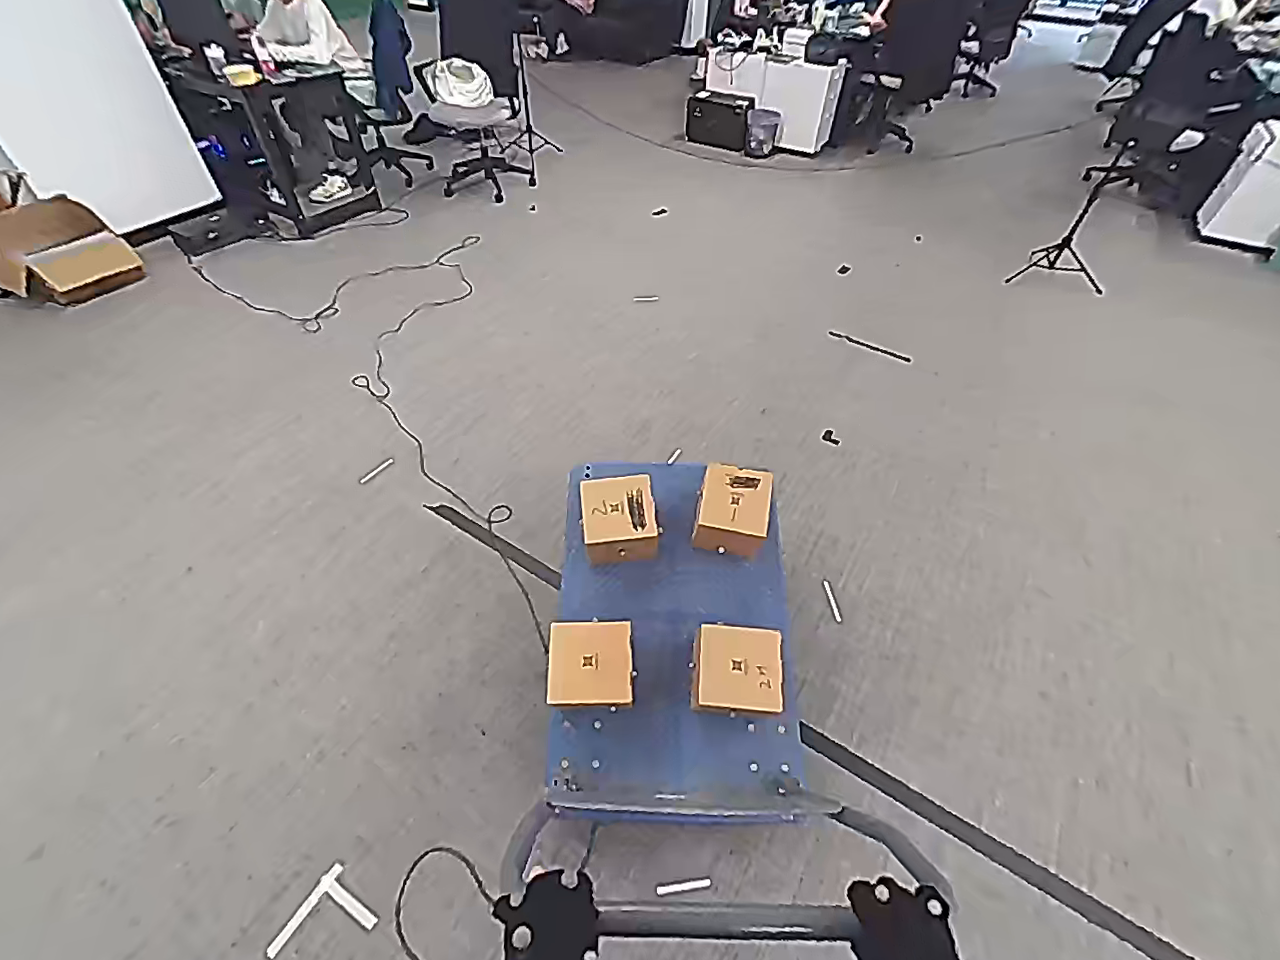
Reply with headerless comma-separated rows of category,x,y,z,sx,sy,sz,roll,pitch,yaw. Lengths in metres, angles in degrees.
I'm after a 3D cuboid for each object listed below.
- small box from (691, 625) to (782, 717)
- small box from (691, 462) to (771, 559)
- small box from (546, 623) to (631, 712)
small box,0.209,0.430,1.206,0.179,0.176,0.168,5,63,1
small box,0.228,0.082,1.384,0.168,0.176,0.179,11,64,4
small box,-0.108,0.420,1.203,0.179,0.176,0.168,-1,63,-3
